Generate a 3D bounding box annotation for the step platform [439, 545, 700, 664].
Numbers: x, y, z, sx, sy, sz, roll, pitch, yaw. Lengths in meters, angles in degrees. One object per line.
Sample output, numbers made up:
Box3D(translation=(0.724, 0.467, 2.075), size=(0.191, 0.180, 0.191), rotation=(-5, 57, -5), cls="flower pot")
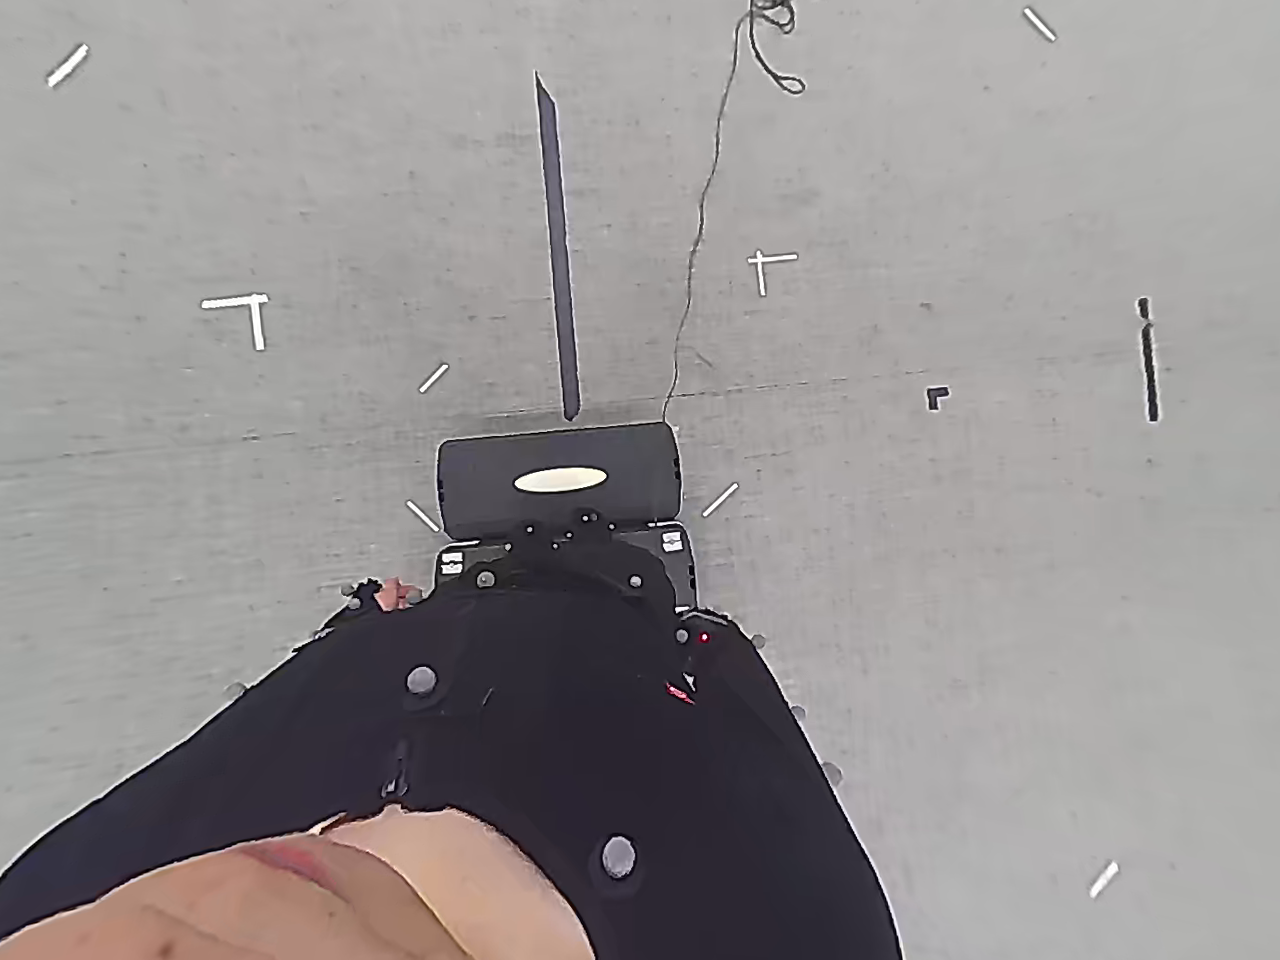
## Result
Box3D(translation=(-0.180, 0.331, 1.462), size=(0.684, 0.204, 0.286), rotation=(-1, 86, -3), cls="step platform")
